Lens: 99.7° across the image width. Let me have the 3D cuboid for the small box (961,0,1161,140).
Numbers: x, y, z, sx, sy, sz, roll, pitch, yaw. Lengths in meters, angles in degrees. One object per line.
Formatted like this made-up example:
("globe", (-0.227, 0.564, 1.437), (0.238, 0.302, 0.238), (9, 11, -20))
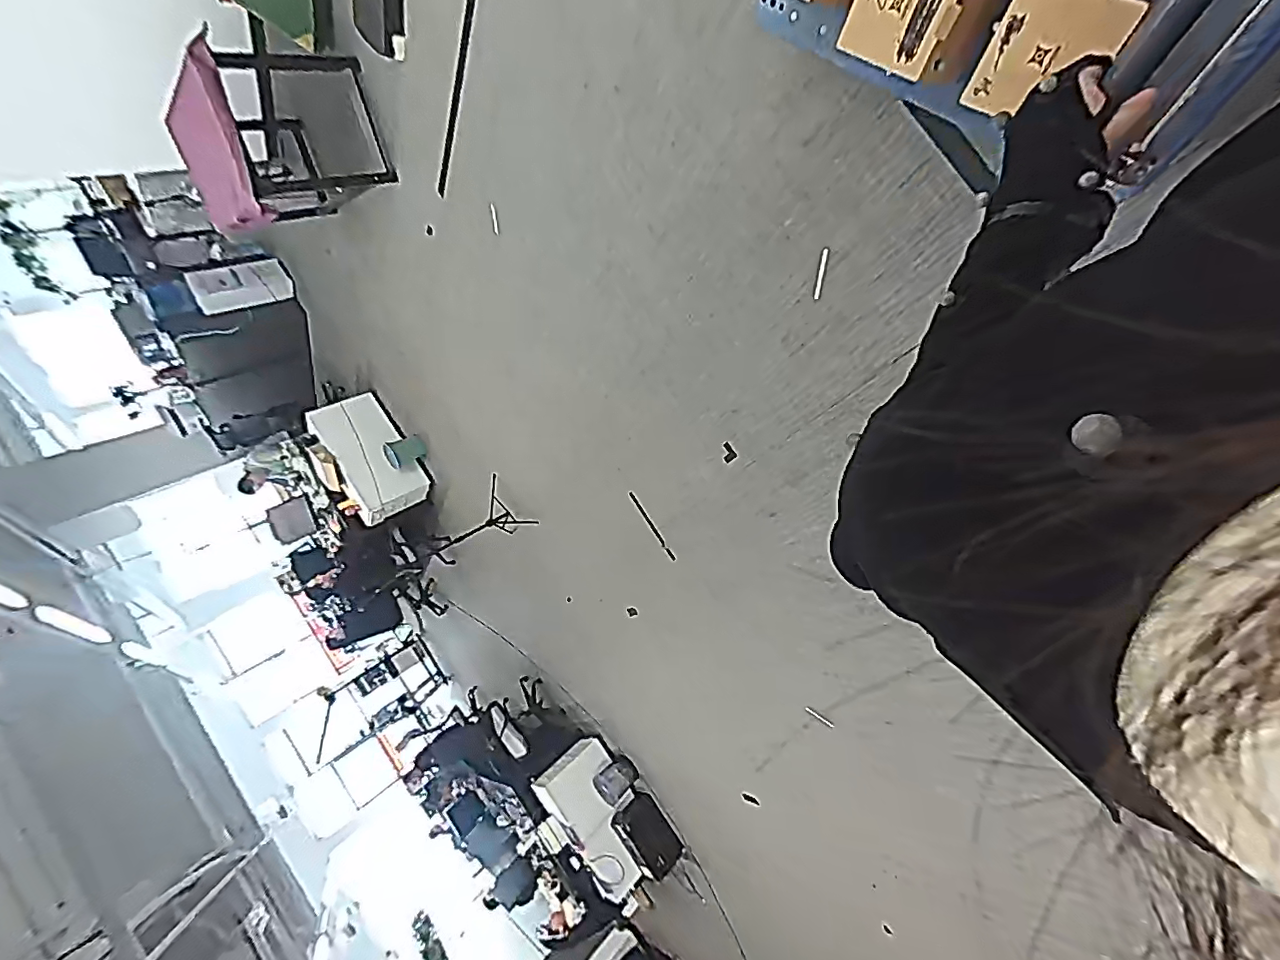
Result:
("small box", (0.660, -0.663, 0.850), (0.179, 0.176, 0.168), (41, 140, 22))

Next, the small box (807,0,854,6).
("small box", (0.325, -1.005, 0.991), (0.179, 0.176, 0.168), (43, 142, 18))
